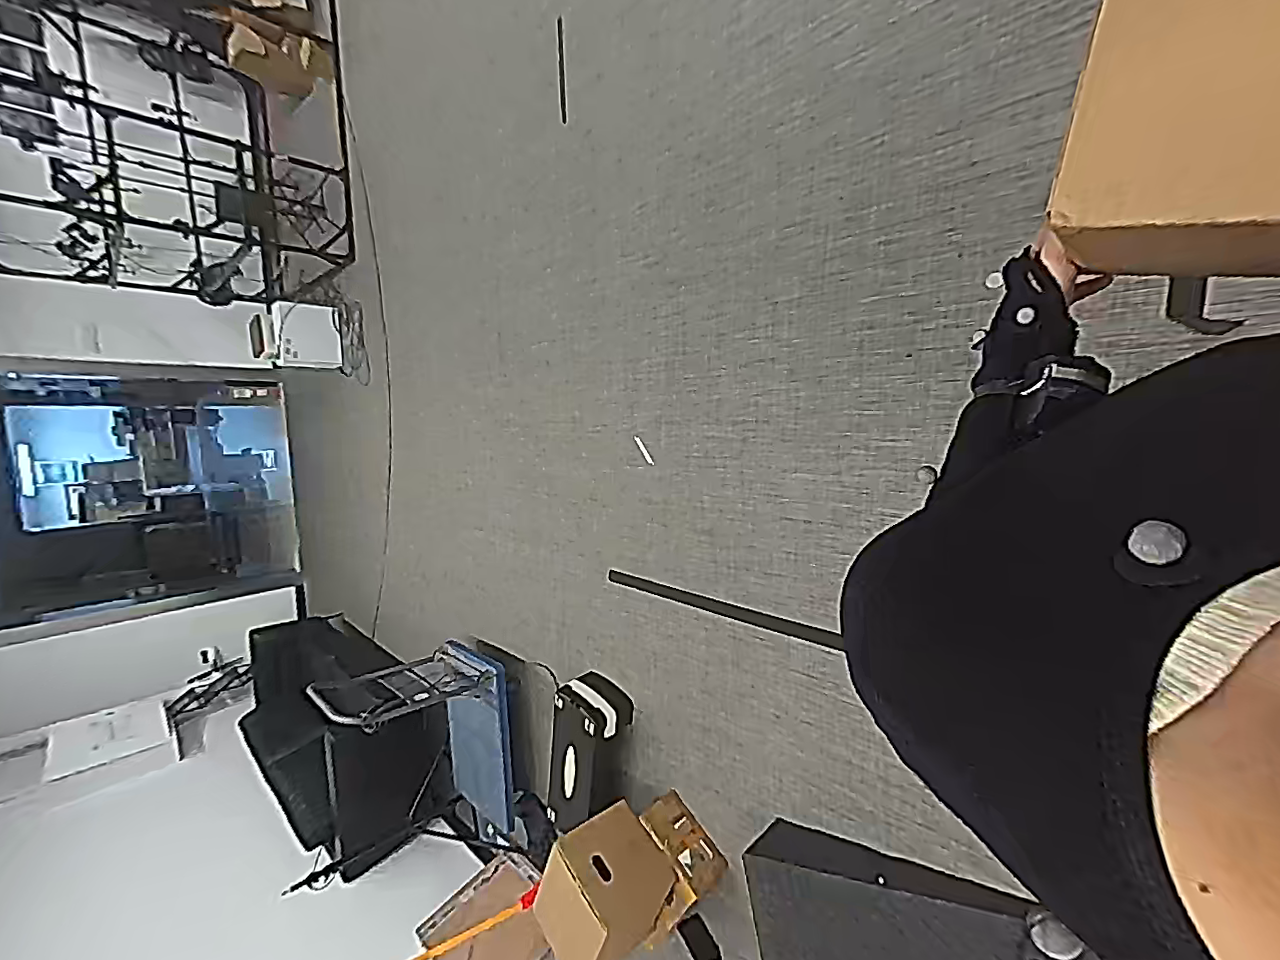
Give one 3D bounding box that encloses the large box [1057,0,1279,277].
[{"bbox_3d":[0.462,-0.263,0.226,0.408,0.320,0.320,16,113,36],"label":"large box"}]
